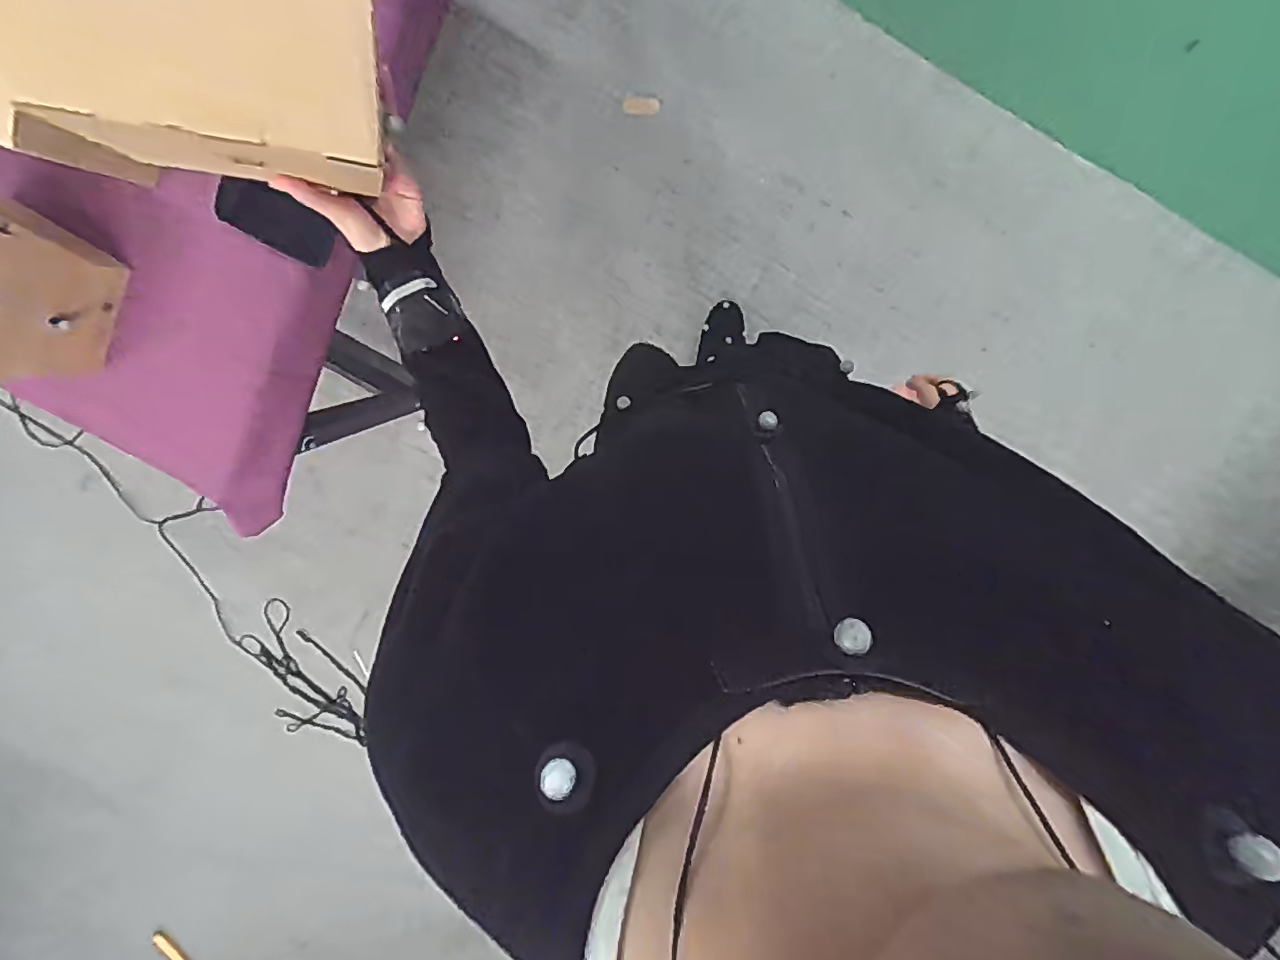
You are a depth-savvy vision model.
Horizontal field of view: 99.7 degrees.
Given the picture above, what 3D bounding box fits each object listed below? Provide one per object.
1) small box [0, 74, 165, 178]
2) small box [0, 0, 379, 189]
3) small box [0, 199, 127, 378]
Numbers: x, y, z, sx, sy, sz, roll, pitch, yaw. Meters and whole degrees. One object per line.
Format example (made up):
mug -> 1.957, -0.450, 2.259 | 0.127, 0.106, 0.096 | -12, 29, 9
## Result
small box -> -0.673, -0.467, 0.599 | 0.179, 0.176, 0.168 | 26, 106, -5
small box -> -0.255, -0.299, 0.335 | 0.168, 0.179, 0.176 | -3, 110, -25
small box -> -0.808, -0.246, 0.672 | 0.179, 0.176, 0.168 | 31, 106, -6
